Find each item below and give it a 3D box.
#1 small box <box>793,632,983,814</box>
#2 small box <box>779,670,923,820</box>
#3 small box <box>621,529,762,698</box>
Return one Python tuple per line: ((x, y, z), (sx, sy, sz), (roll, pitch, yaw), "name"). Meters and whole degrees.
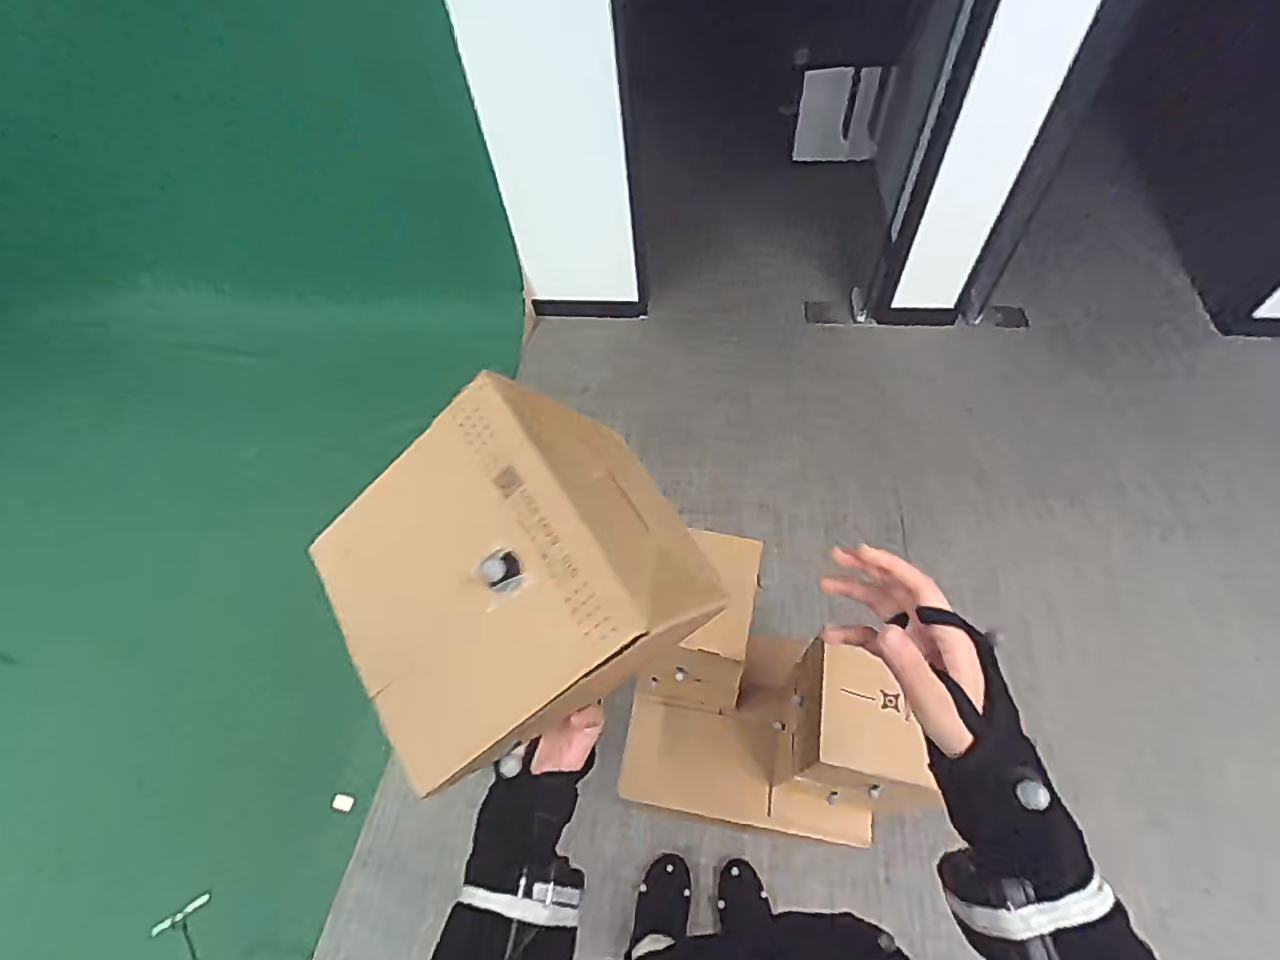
((0.305, 0.317, 0.697), (0.179, 0.176, 0.168), (9, 57, 11), "small box")
((0.314, 0.410, 0.831), (0.179, 0.176, 0.168), (8, 58, 11), "small box")
((0.081, 0.200, 0.805), (0.168, 0.176, 0.179), (9, 57, 14), "small box")
